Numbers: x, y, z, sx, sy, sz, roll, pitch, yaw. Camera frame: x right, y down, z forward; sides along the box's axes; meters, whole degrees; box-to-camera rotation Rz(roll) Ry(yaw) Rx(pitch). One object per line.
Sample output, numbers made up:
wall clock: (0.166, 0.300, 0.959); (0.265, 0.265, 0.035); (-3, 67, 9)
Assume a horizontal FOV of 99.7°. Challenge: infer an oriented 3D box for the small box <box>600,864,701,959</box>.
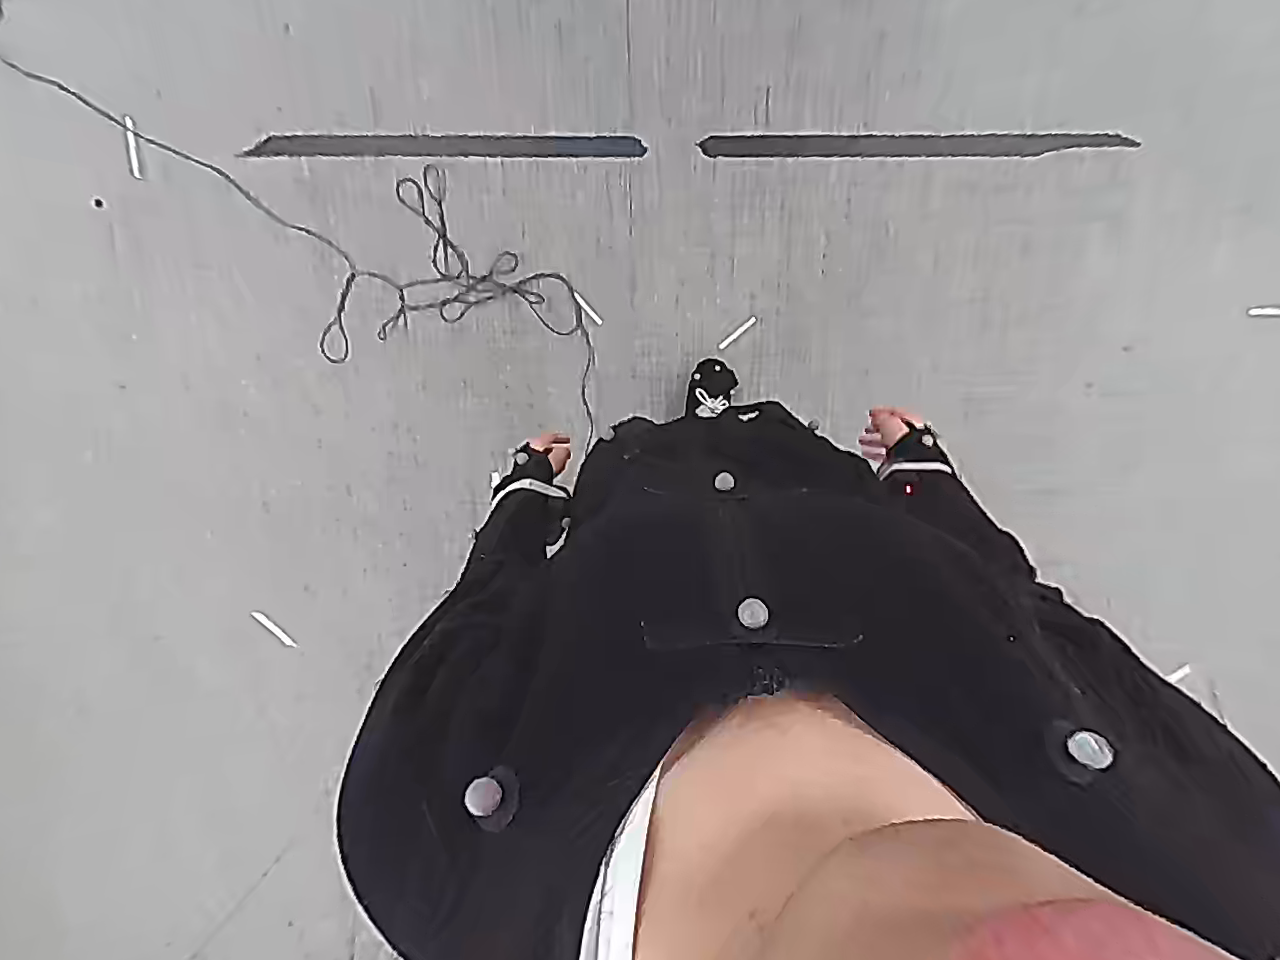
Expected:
small box: (0.016, 0.832, 0.960); (0.168, 0.176, 0.179); (1, 99, 0)
